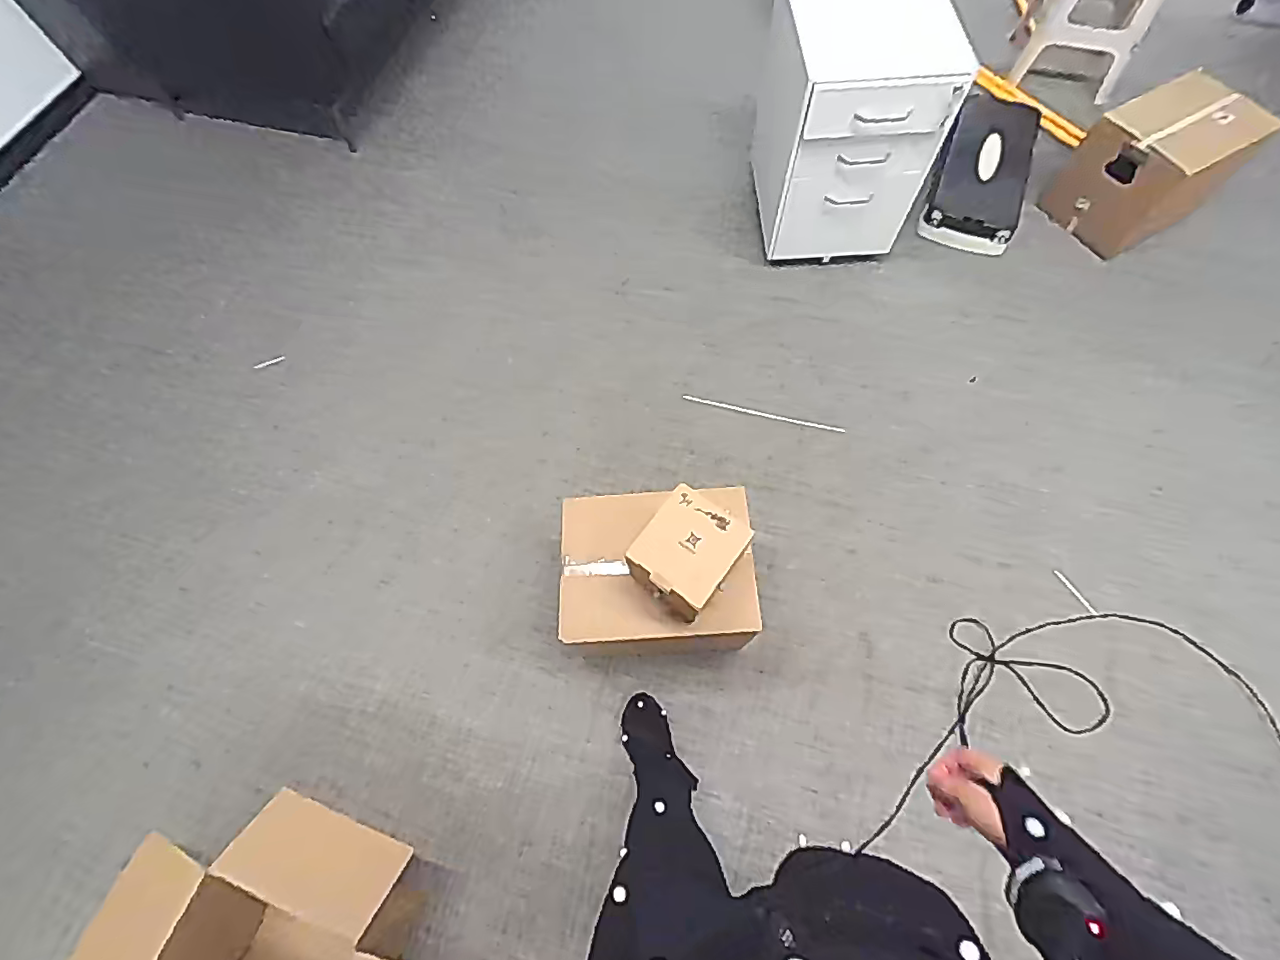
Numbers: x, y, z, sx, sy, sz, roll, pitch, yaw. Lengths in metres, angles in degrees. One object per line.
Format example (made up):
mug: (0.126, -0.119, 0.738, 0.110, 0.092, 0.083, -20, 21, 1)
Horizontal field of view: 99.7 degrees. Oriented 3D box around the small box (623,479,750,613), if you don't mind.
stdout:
small box: (0.089, 0.135, 1.042, 0.168, 0.176, 0.179, 35, 75, 15)
